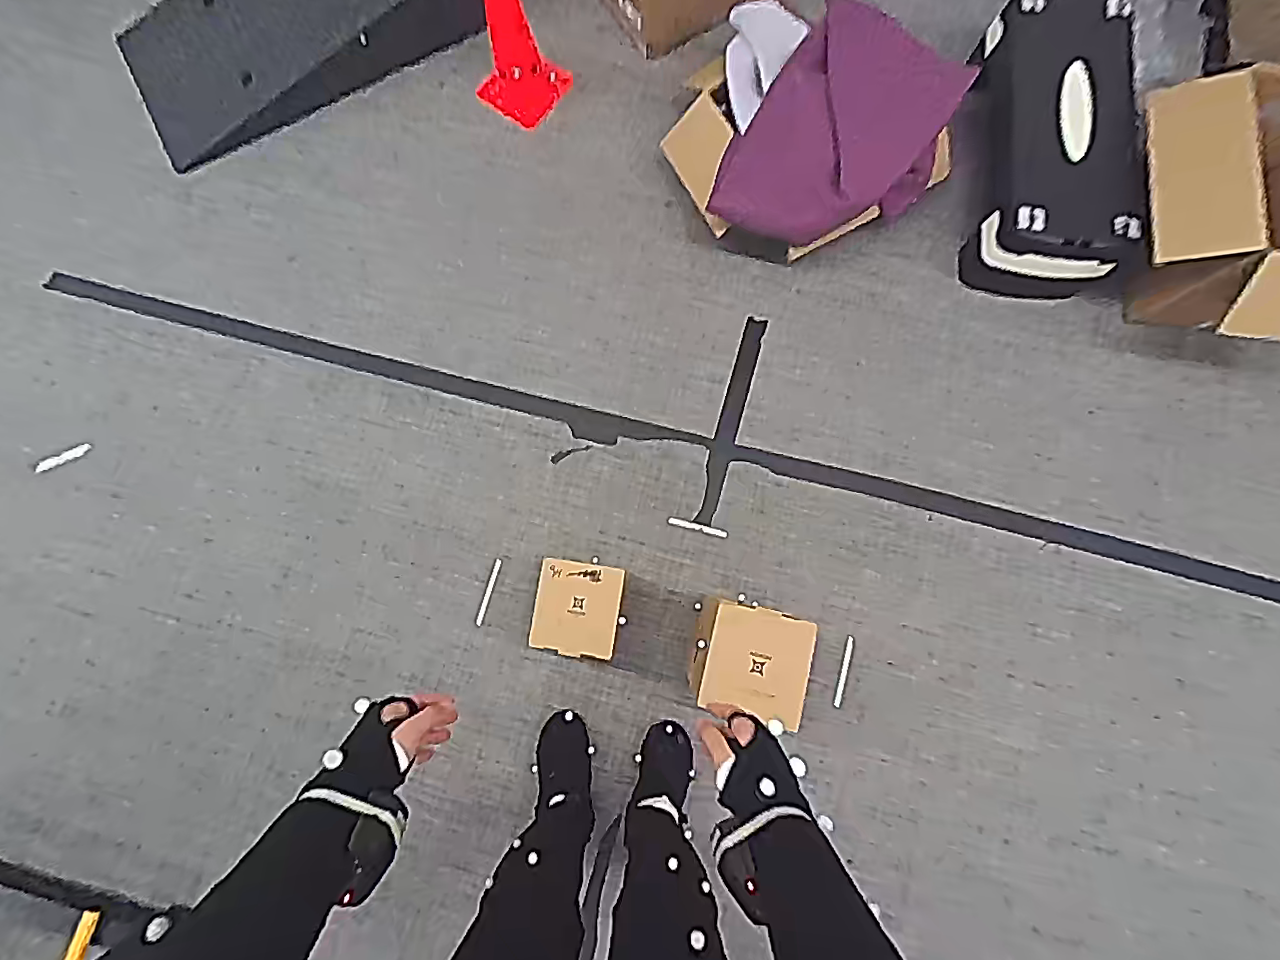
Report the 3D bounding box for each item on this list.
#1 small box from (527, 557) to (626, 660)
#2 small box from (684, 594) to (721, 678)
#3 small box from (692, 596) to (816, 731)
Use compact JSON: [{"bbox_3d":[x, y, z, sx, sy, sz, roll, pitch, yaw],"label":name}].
[{"bbox_3d":[-0.123,0.260,1.125,0.168,0.176,0.179,9,81,3],"label":"small box"},{"bbox_3d":[0.197,0.339,1.109,0.179,0.176,0.168,18,81,3],"label":"small box"},{"bbox_3d":[0.190,0.309,0.949,0.168,0.176,0.179,13,82,4],"label":"small box"}]
